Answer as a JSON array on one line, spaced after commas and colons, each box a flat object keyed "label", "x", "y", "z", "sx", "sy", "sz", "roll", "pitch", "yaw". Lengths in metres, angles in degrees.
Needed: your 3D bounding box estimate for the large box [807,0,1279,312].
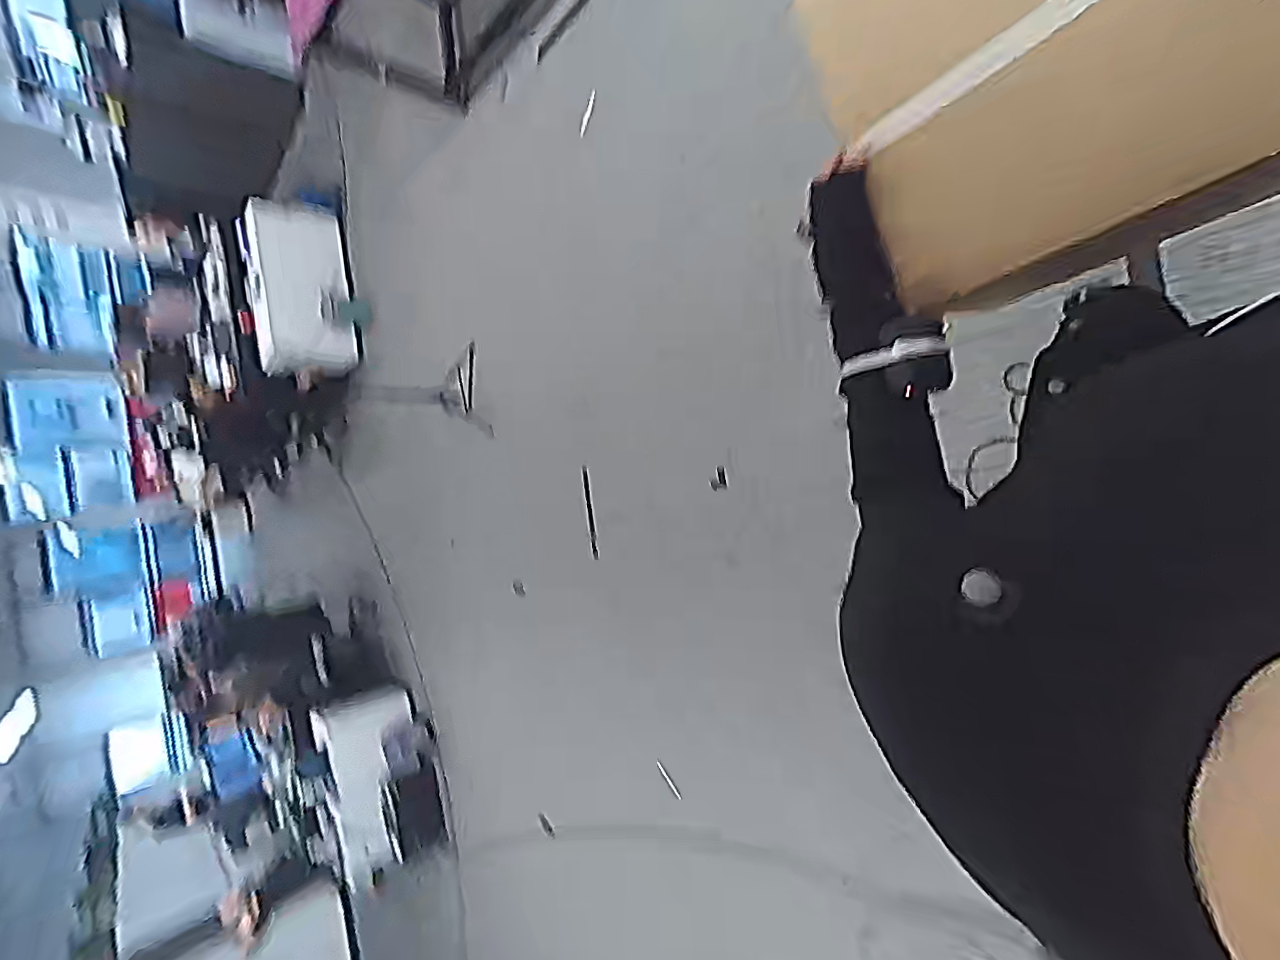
[{"label": "large box", "x": 0.432, "y": -0.381, "z": 0.472, "sx": 0.408, "sy": 0.320, "sz": 0.320, "roll": -20, "pitch": 90, "yaw": 43}]
